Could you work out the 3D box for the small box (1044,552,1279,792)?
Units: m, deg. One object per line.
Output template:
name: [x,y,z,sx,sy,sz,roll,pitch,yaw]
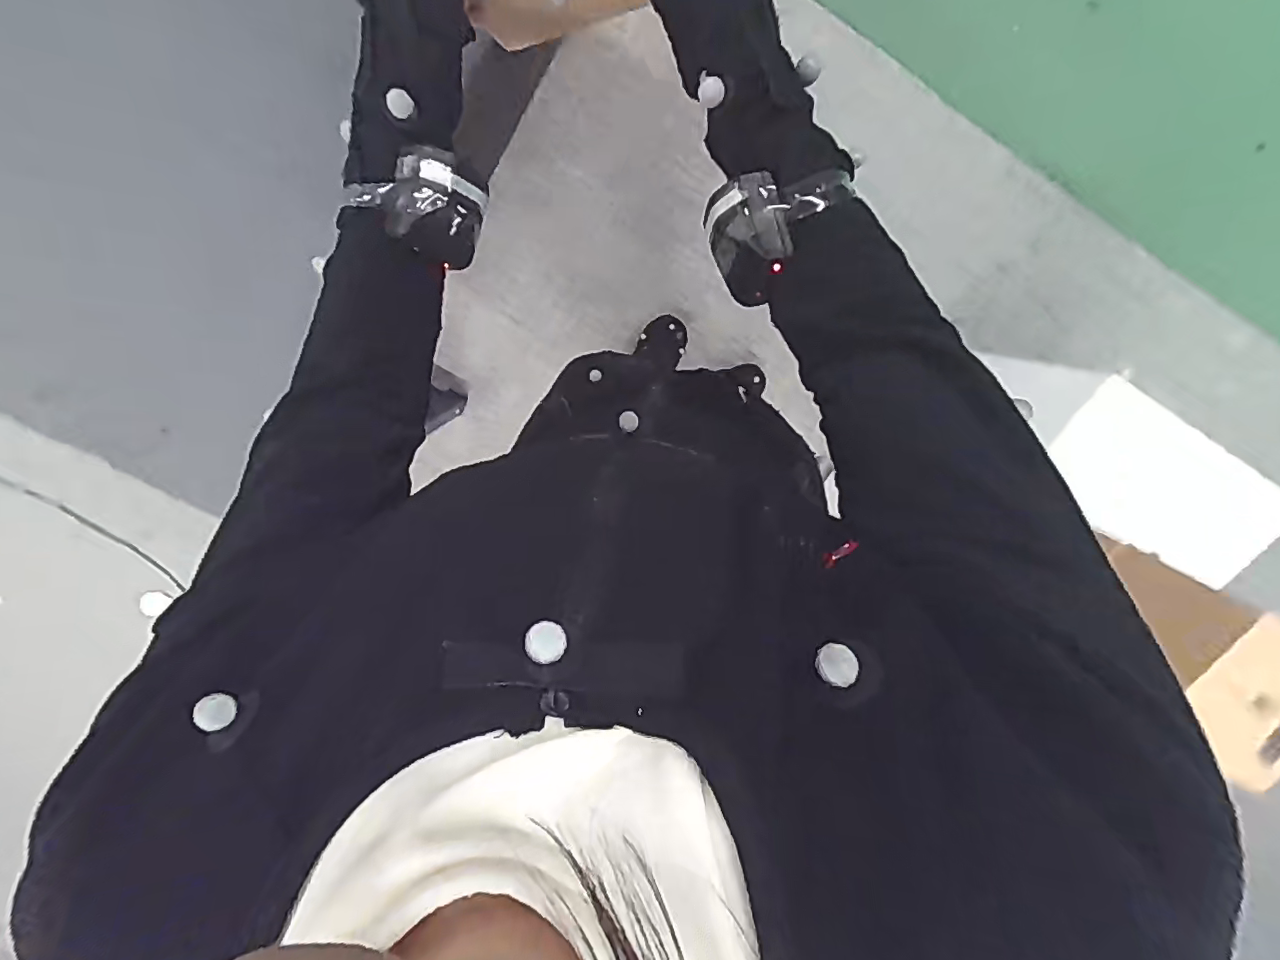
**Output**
small box: [0.636,0.209,0.624,0.179,0.176,0.168,25,108,-8]
